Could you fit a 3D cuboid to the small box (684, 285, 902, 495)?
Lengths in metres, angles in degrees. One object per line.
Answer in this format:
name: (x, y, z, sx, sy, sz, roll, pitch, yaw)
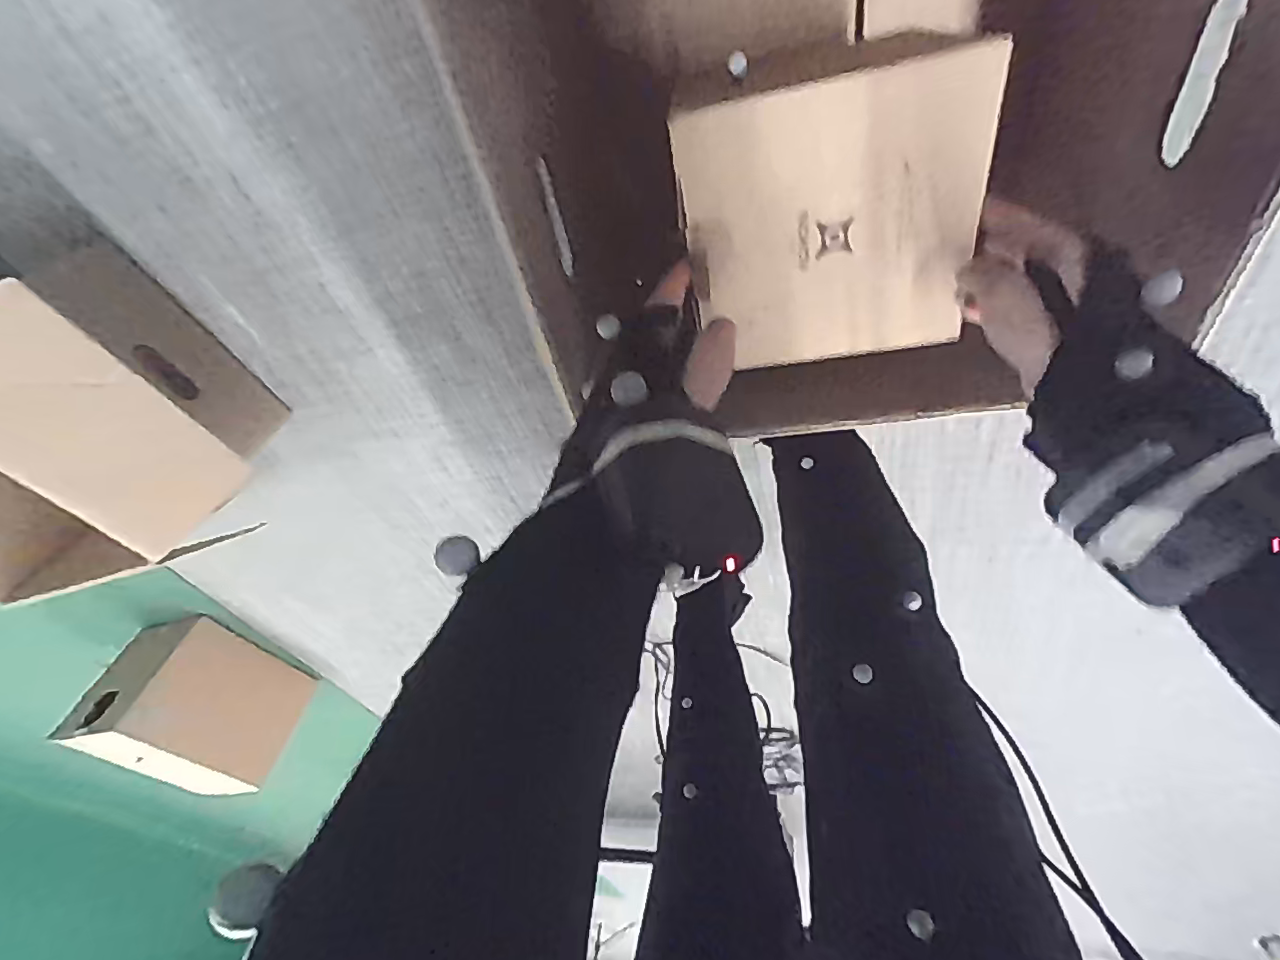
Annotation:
small box: (0.164, -0.089, 0.626, 0.179, 0.168, 0.176, 8, 158, -15)
